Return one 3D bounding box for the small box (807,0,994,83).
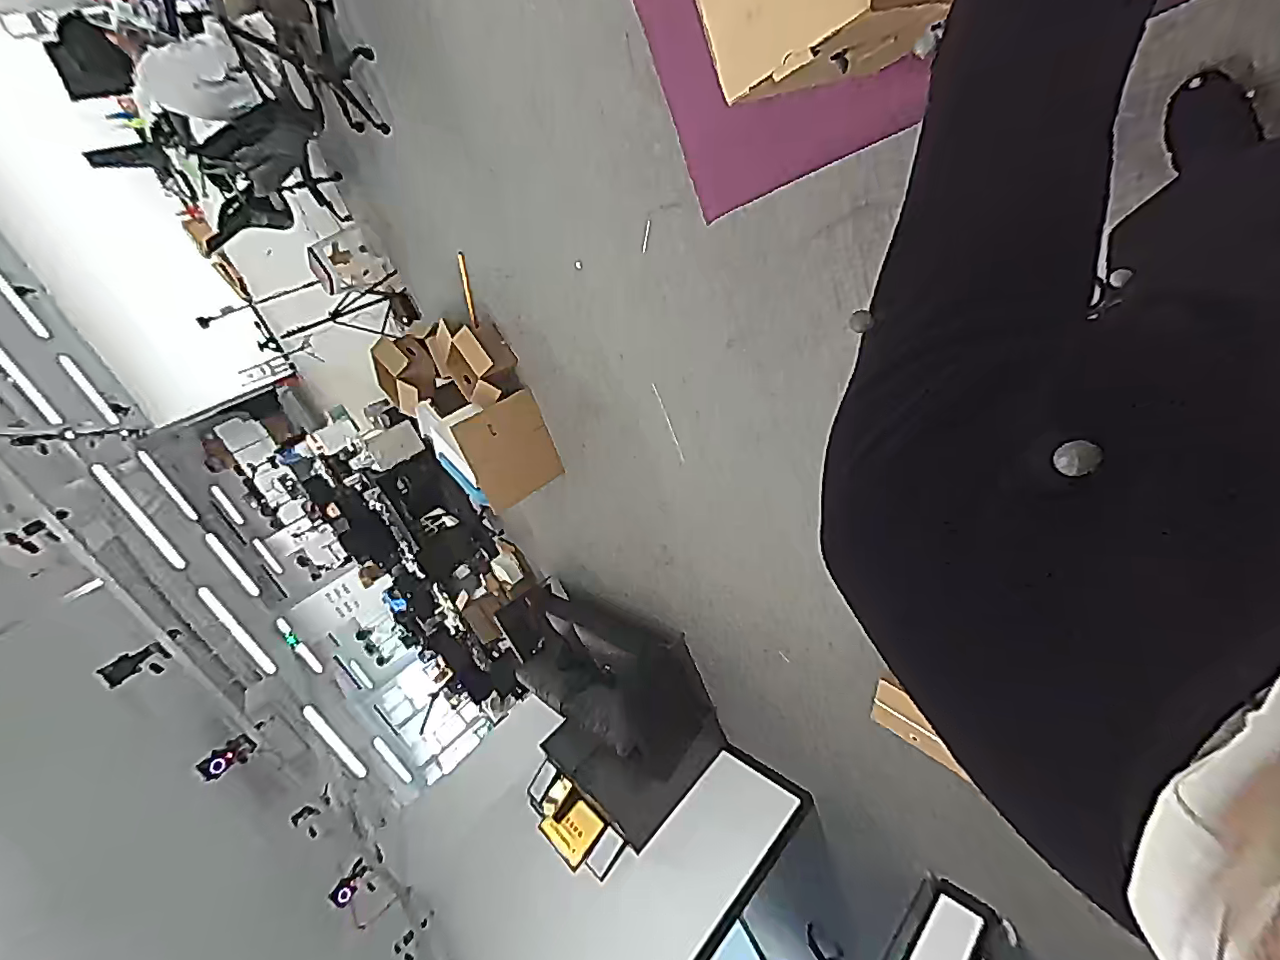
[{"bbox_3d":[0.283,-0.591,0.605,0.168,0.176,0.179,7,125,51],"label":"small box"}]

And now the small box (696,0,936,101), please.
[{"bbox_3d":[0.167,-0.511,0.522,0.168,0.176,0.179,7,126,51],"label":"small box"}]

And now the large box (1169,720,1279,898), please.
[{"bbox_3d":[1.718,0.841,1.382,0.320,0.320,0.408,50,149,6],"label":"large box"}]
